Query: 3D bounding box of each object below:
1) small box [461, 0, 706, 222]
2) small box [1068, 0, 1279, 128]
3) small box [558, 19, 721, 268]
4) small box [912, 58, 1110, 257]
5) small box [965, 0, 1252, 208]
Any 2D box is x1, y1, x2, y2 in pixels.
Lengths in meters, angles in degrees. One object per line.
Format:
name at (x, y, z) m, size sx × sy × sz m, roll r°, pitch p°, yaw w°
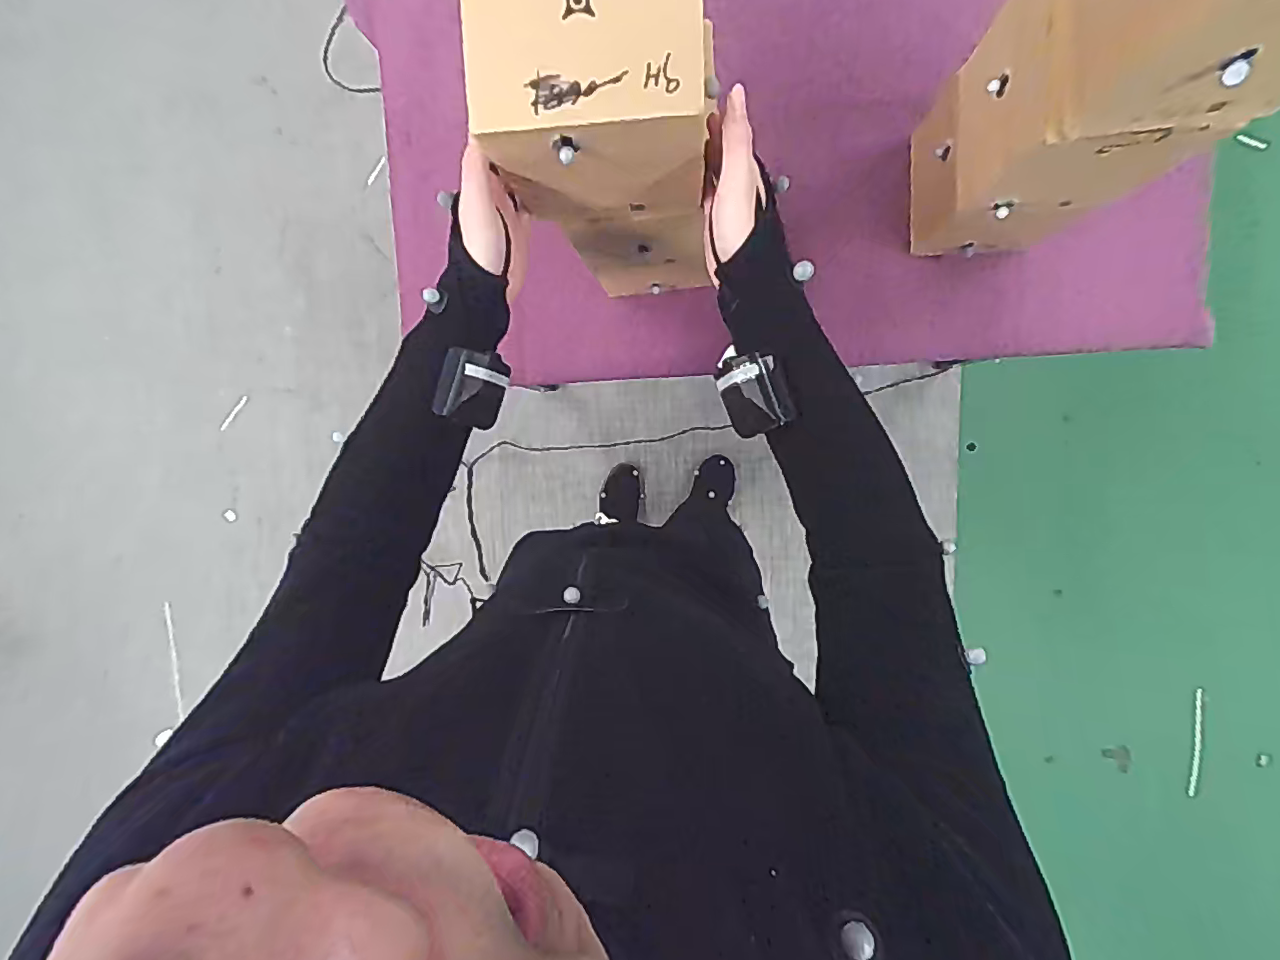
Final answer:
small box at (-0.032, -0.333, 0.435) m, size 0.168 × 0.176 × 0.179 m, roll -1°, pitch 95°, yaw 7°
small box at (0.444, -0.382, 0.383) m, size 0.168 × 0.176 × 0.179 m, roll -2°, pitch 93°, yaw 8°
small box at (0.002, -0.346, 0.597) m, size 0.168 × 0.176 × 0.179 m, roll -4°, pitch 95°, yaw 6°
small box at (0.472, -0.411, 0.706) m, size 0.168 × 0.176 × 0.179 m, roll 0°, pitch 95°, yaw 8°
small box at (0.452, -0.394, 0.545) m, size 0.168 × 0.176 × 0.179 m, roll -1°, pitch 93°, yaw 8°
